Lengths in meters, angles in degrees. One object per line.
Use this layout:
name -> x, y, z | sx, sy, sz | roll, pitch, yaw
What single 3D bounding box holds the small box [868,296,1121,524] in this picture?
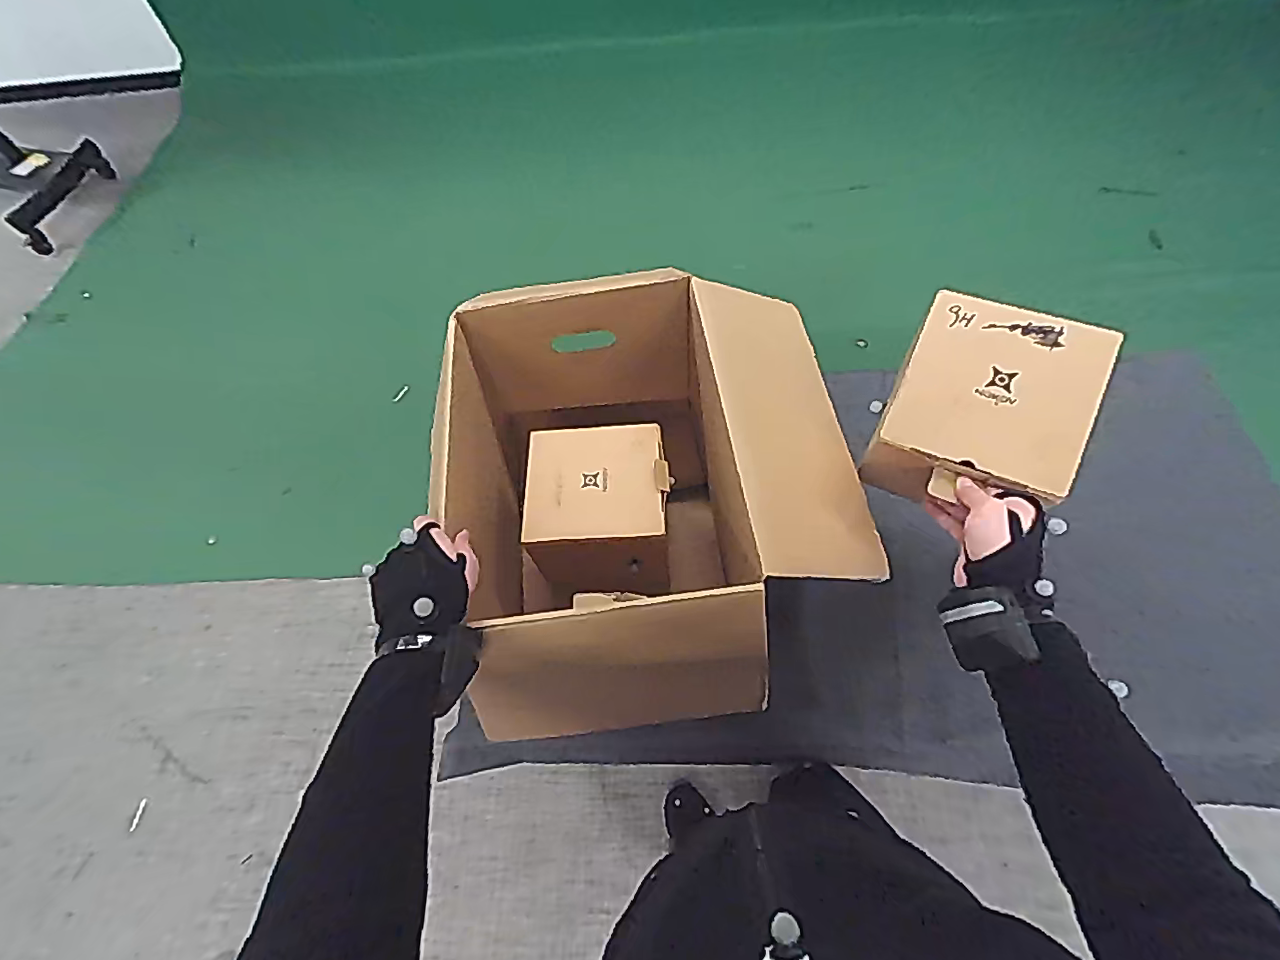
small box -> 0.366, -0.066, 0.597 | 0.168, 0.176, 0.179 | 22, 83, 19
